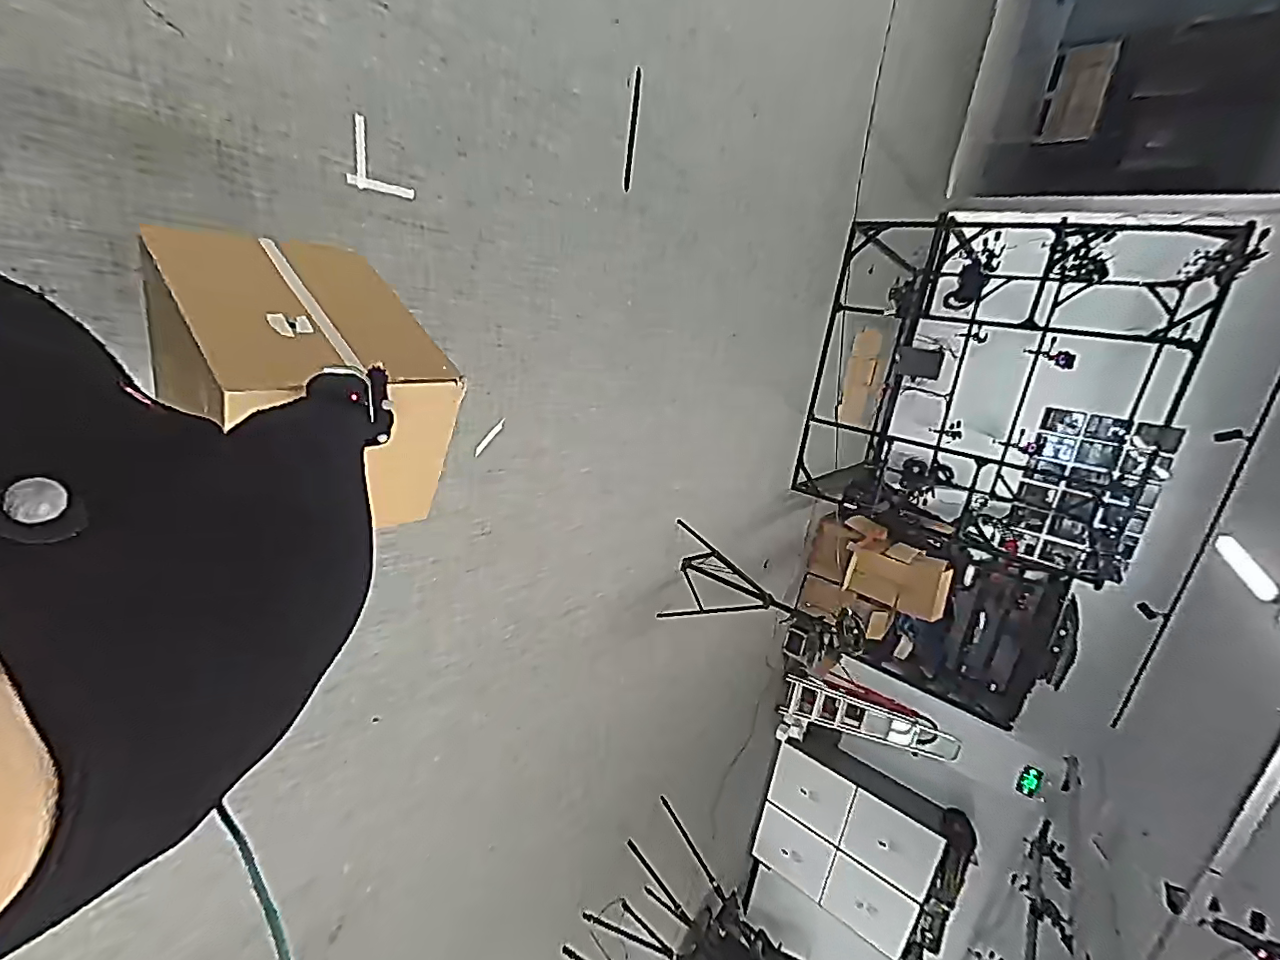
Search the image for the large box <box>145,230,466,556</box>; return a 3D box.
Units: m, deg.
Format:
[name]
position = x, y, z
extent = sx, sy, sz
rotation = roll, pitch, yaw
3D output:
[large box]
position = -0.564, -0.149, 0.904
extent = 0.320, 0.408, 0.320
rotation = -15, 145, -47
